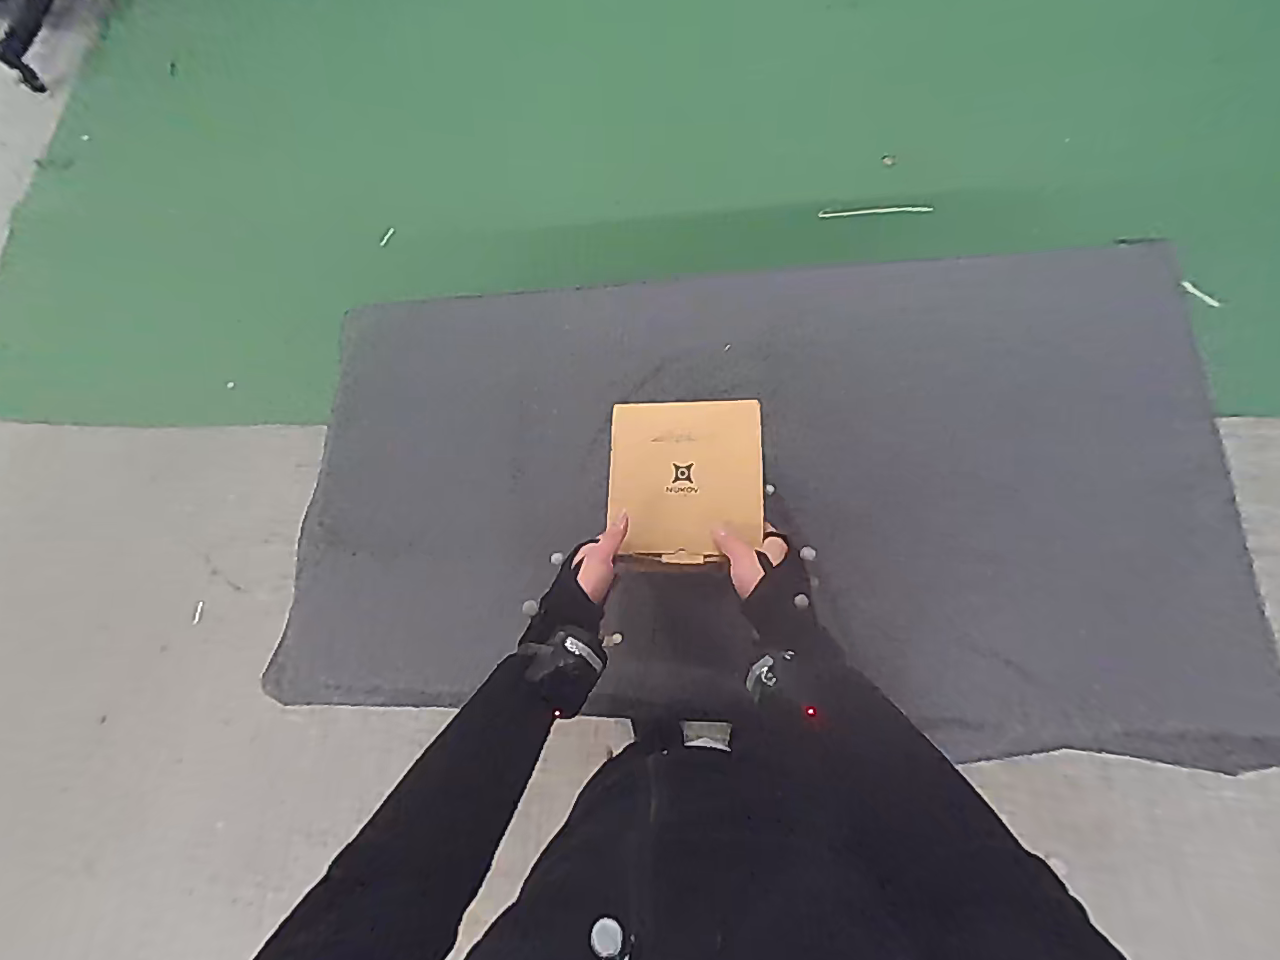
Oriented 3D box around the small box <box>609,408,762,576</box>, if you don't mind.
[{"bbox_3d":[0.062,0.024,0.666,0.168,0.176,0.179,-1,74,8],"label":"small box"}]
